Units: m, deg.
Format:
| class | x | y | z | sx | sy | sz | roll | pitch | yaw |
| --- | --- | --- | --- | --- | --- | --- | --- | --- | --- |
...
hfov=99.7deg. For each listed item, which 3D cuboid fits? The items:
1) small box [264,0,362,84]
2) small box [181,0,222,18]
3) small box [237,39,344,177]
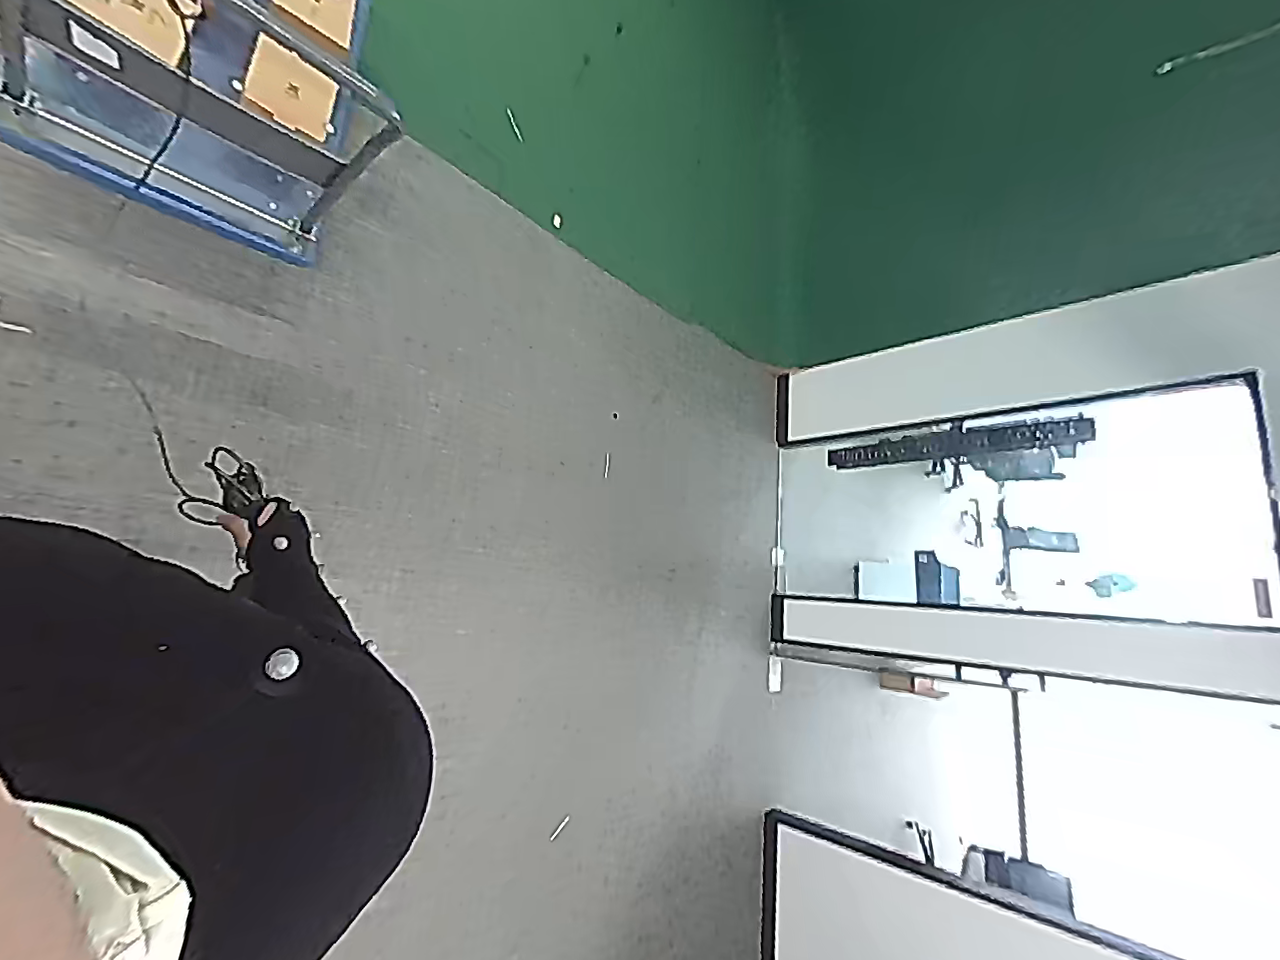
| class | x | y | z | sx | sy | sz | roll | pitch | yaw |
| --- | --- | --- | --- | --- | --- | --- | --- | --- | --- |
| small box | -0.819 | -1.146 | 1.351 | 0.168 | 0.176 | 0.179 | 10 | 79 | -44 |
| small box | -0.995 | -1.177 | 1.174 | 0.168 | 0.176 | 0.179 | 11 | 78 | -46 |
| small box | -0.842 | -0.882 | 1.300 | 0.168 | 0.176 | 0.179 | 17 | 74 | -44 |
